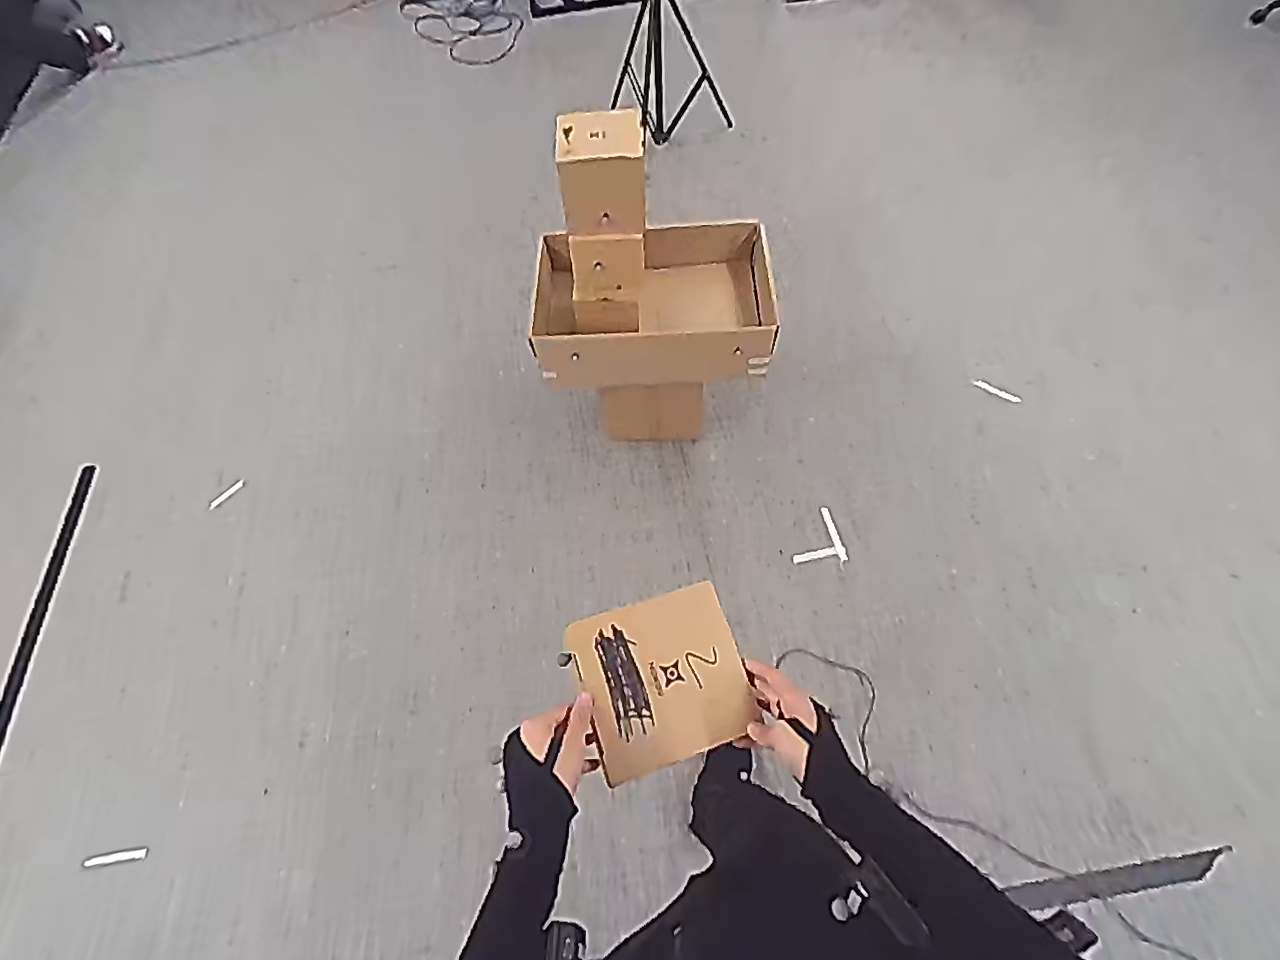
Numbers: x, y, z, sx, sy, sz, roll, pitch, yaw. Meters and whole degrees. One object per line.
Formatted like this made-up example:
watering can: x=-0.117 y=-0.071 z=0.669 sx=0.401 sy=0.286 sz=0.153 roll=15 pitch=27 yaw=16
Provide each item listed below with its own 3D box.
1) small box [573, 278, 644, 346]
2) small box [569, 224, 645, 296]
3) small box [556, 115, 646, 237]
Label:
small box: x=-0.076 y=-0.476 z=1.438 sx=0.168 sy=0.176 sz=0.179 roll=1 pitch=62 yaw=3
small box: x=-0.073 y=-0.561 z=1.299 sx=0.168 sy=0.176 sz=0.179 roll=-2 pitch=62 yaw=1
small box: x=-0.079 y=-0.647 z=1.159 sx=0.179 sy=0.176 sz=0.168 roll=-3 pitch=61 yaw=0
